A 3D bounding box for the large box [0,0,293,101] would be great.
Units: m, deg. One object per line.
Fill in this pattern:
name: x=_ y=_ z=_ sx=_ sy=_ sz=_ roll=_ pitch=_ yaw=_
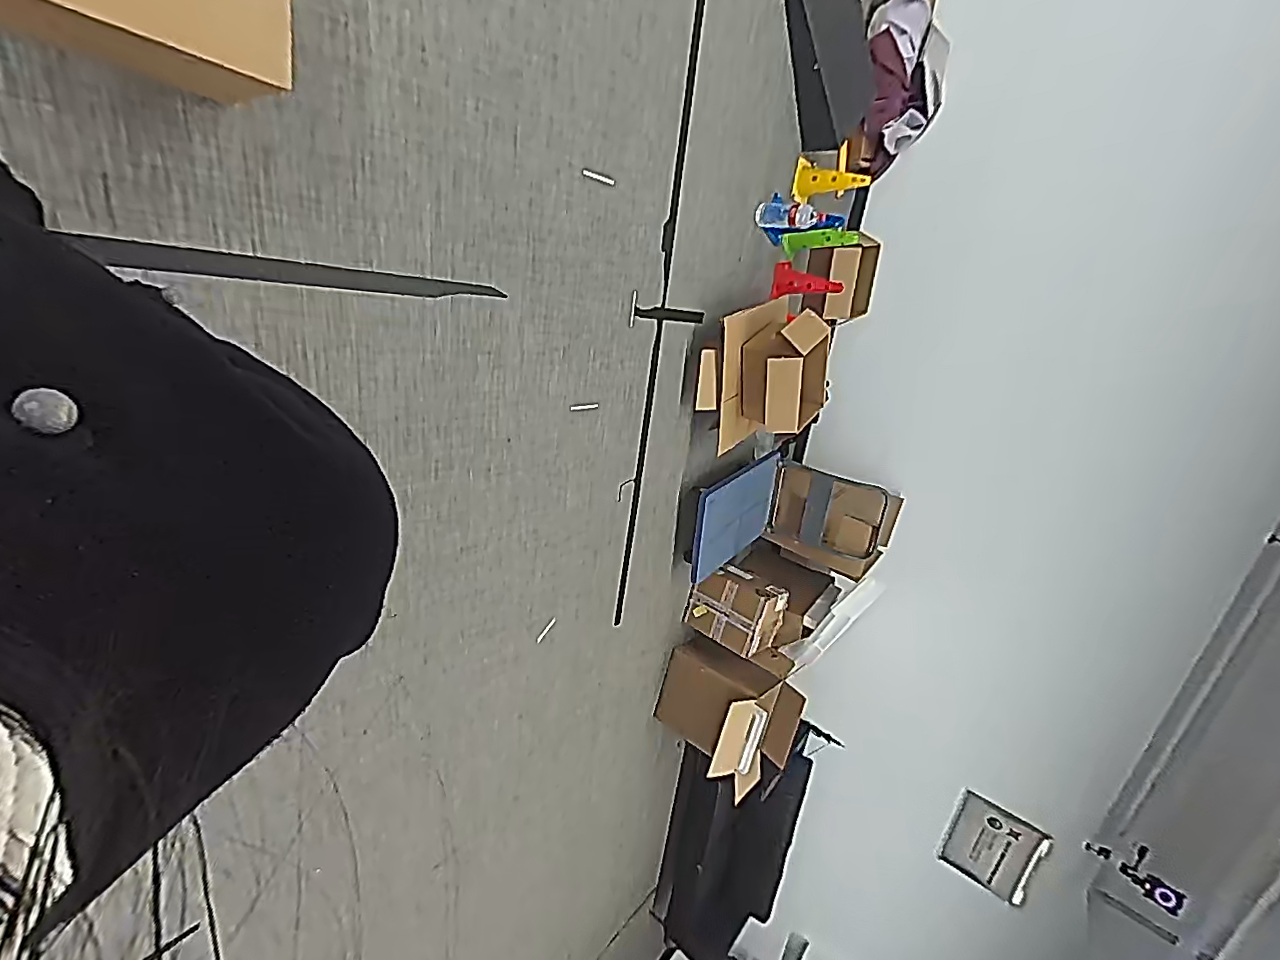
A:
large box: x=-0.798 y=-0.814 z=0.789 sx=0.408 sy=0.320 sz=0.320 roll=-14 pitch=119 yaw=-52
